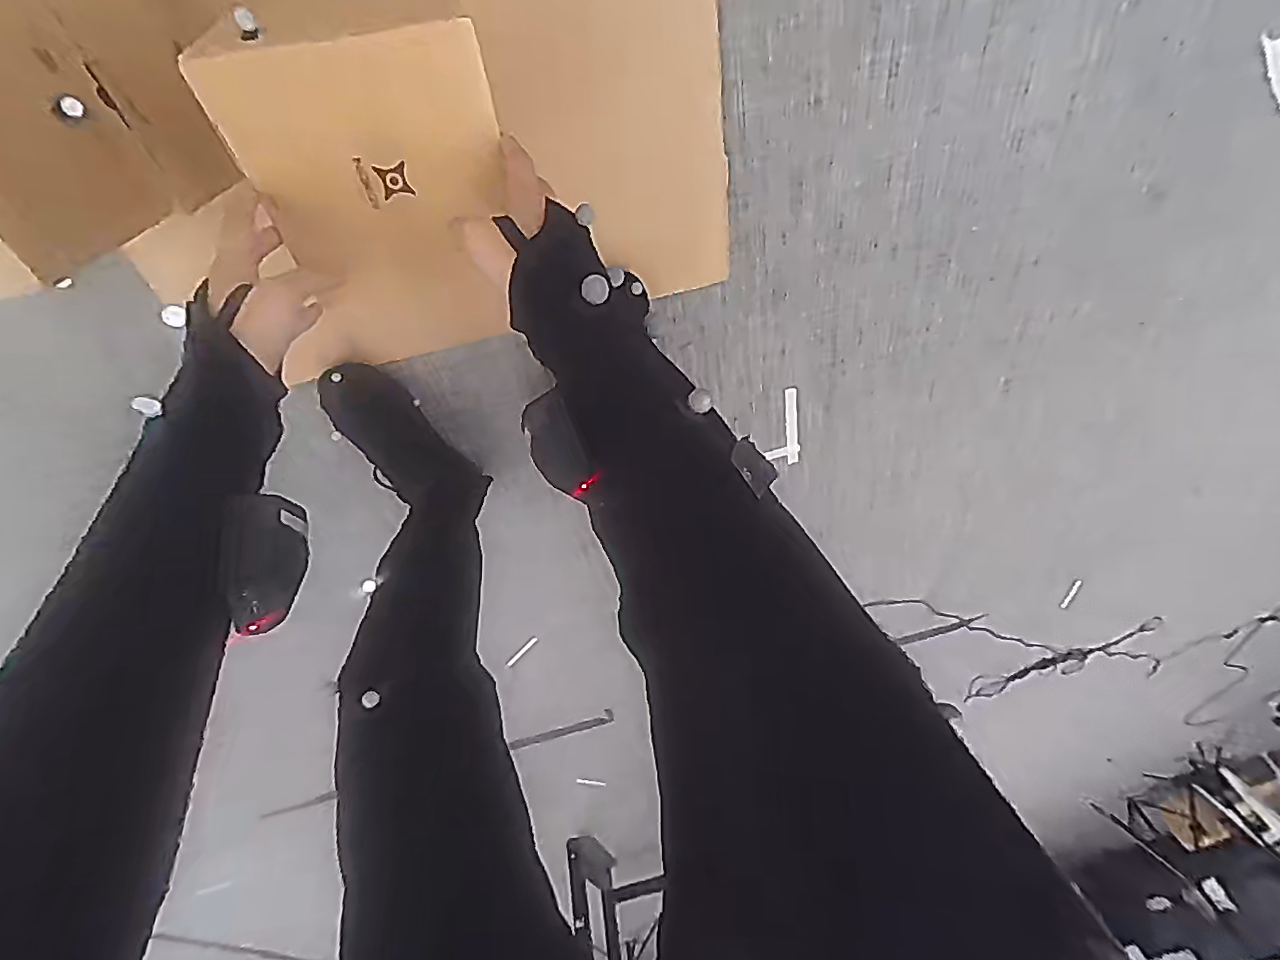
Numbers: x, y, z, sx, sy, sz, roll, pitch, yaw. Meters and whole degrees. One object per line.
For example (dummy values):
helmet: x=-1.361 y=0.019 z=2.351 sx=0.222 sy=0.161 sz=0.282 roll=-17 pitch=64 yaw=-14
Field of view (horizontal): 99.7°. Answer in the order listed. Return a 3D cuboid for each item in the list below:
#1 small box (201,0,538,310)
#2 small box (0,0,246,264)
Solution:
small box: x=-0.197 y=-0.271 z=0.442 sx=0.179 sy=0.176 sz=0.168 roll=-15 pitch=140 yaw=-6
small box: x=-0.482 y=-0.311 z=0.461 sx=0.179 sy=0.176 sz=0.168 roll=-13 pitch=132 yaw=-1
